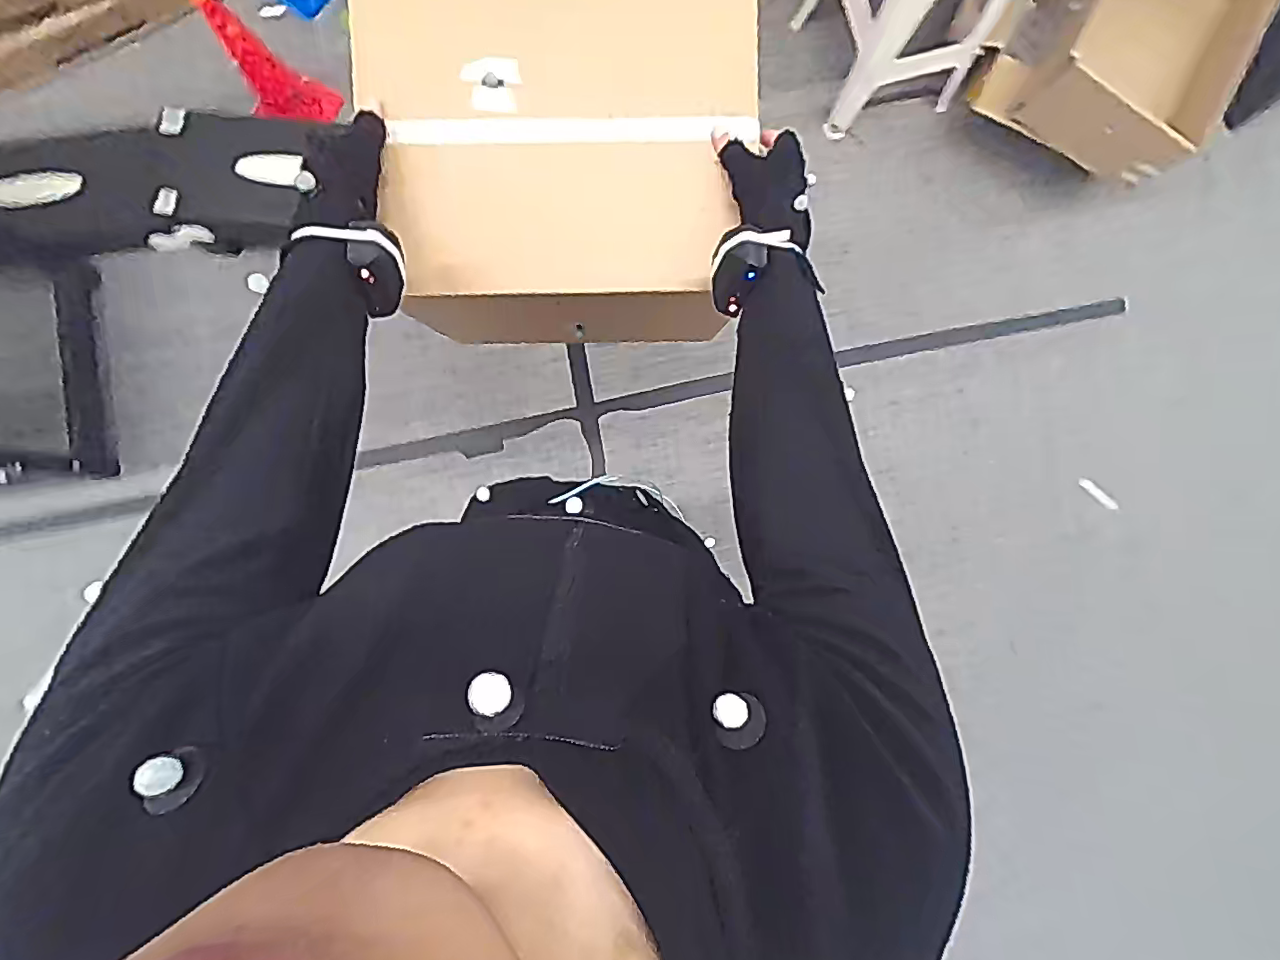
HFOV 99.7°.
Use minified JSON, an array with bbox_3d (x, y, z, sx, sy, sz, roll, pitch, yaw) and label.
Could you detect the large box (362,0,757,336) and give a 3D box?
[{"bbox_3d":[-0.079,-0.369,0.705,0.408,0.320,0.320,-1,95,-1],"label":"large box"}]
